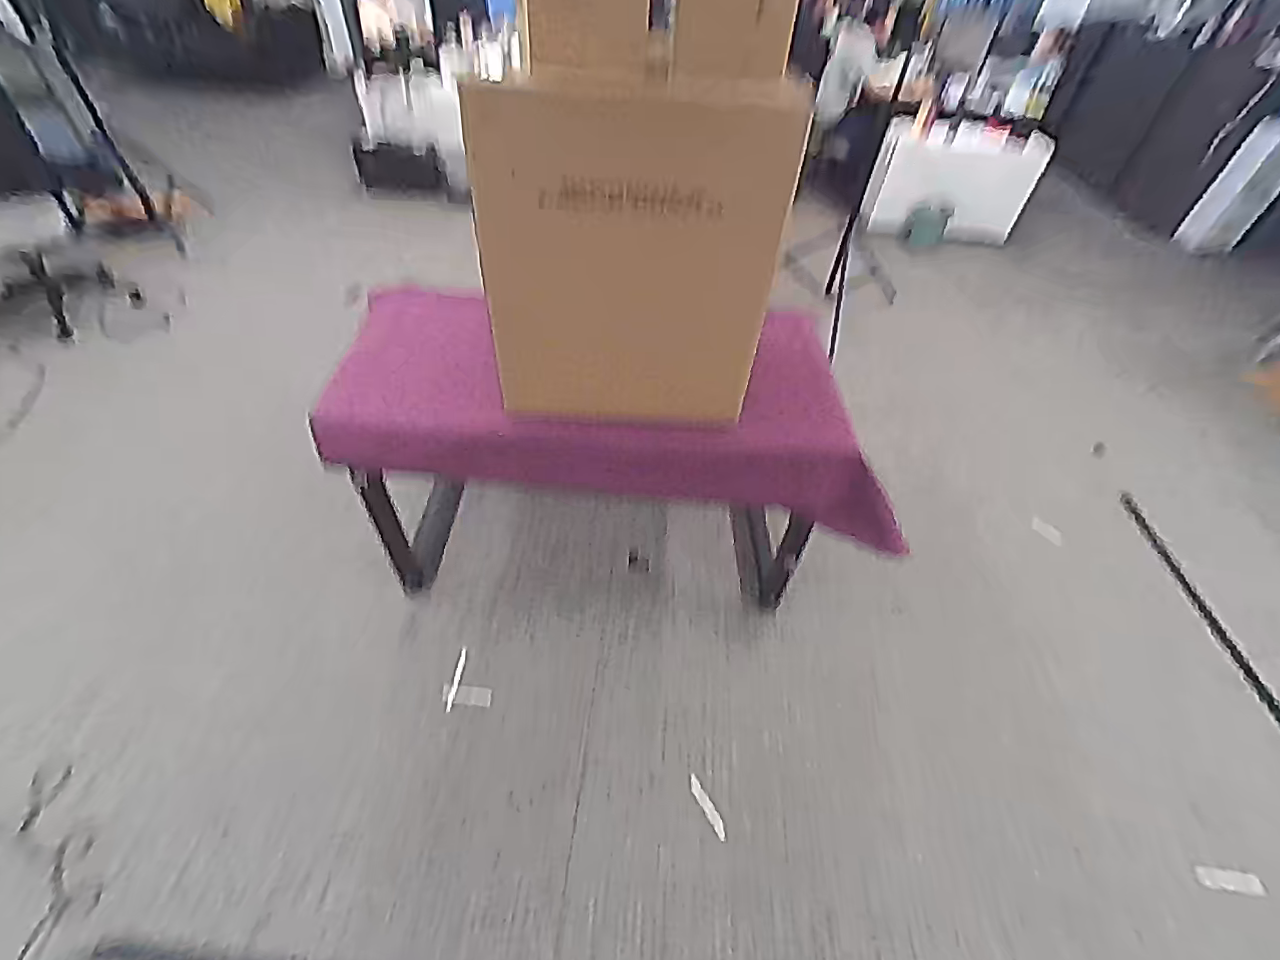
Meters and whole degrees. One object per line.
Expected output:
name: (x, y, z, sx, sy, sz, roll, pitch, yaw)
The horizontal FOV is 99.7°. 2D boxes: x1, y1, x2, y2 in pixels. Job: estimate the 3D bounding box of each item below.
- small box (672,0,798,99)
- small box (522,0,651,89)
small box: (0.140, -0.704, 0.828, 0.168, 0.176, 0.179, 2, 45, -3)
small box: (-0.083, -0.705, 0.810, 0.179, 0.176, 0.168, -7, 48, -13)
